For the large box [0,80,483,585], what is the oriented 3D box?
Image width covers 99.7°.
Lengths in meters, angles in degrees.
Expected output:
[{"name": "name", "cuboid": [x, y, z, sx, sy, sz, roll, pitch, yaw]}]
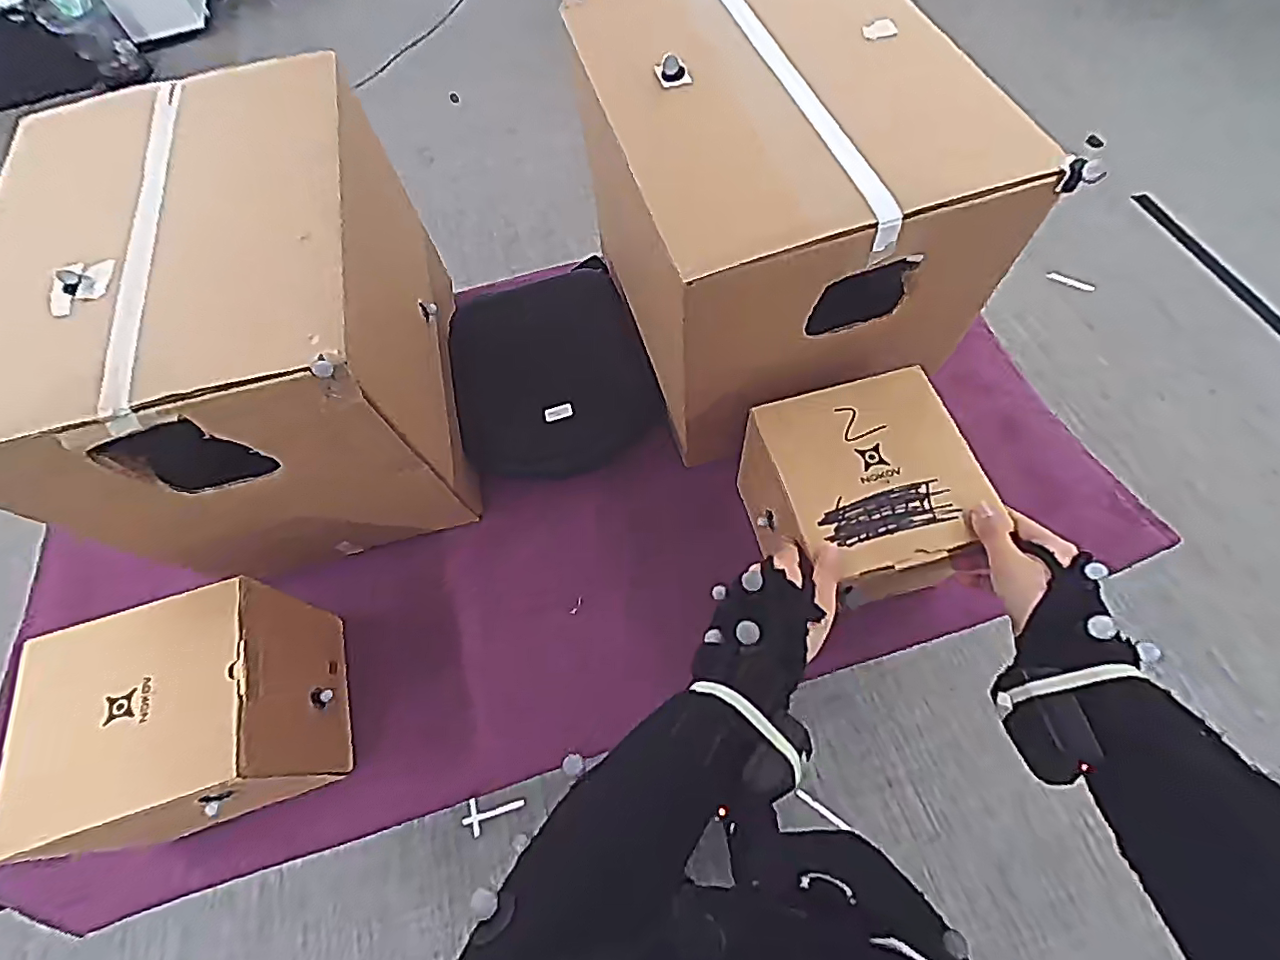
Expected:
[{"name": "large box", "cuboid": [-0.397, -0.141, 0.605, 0.320, 0.320, 0.408, -16, 67, -2]}]

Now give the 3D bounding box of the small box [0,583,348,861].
[{"name": "small box", "cuboid": [-0.405, 0.221, 0.503, 0.179, 0.176, 0.168, -18, 63, -8]}]
